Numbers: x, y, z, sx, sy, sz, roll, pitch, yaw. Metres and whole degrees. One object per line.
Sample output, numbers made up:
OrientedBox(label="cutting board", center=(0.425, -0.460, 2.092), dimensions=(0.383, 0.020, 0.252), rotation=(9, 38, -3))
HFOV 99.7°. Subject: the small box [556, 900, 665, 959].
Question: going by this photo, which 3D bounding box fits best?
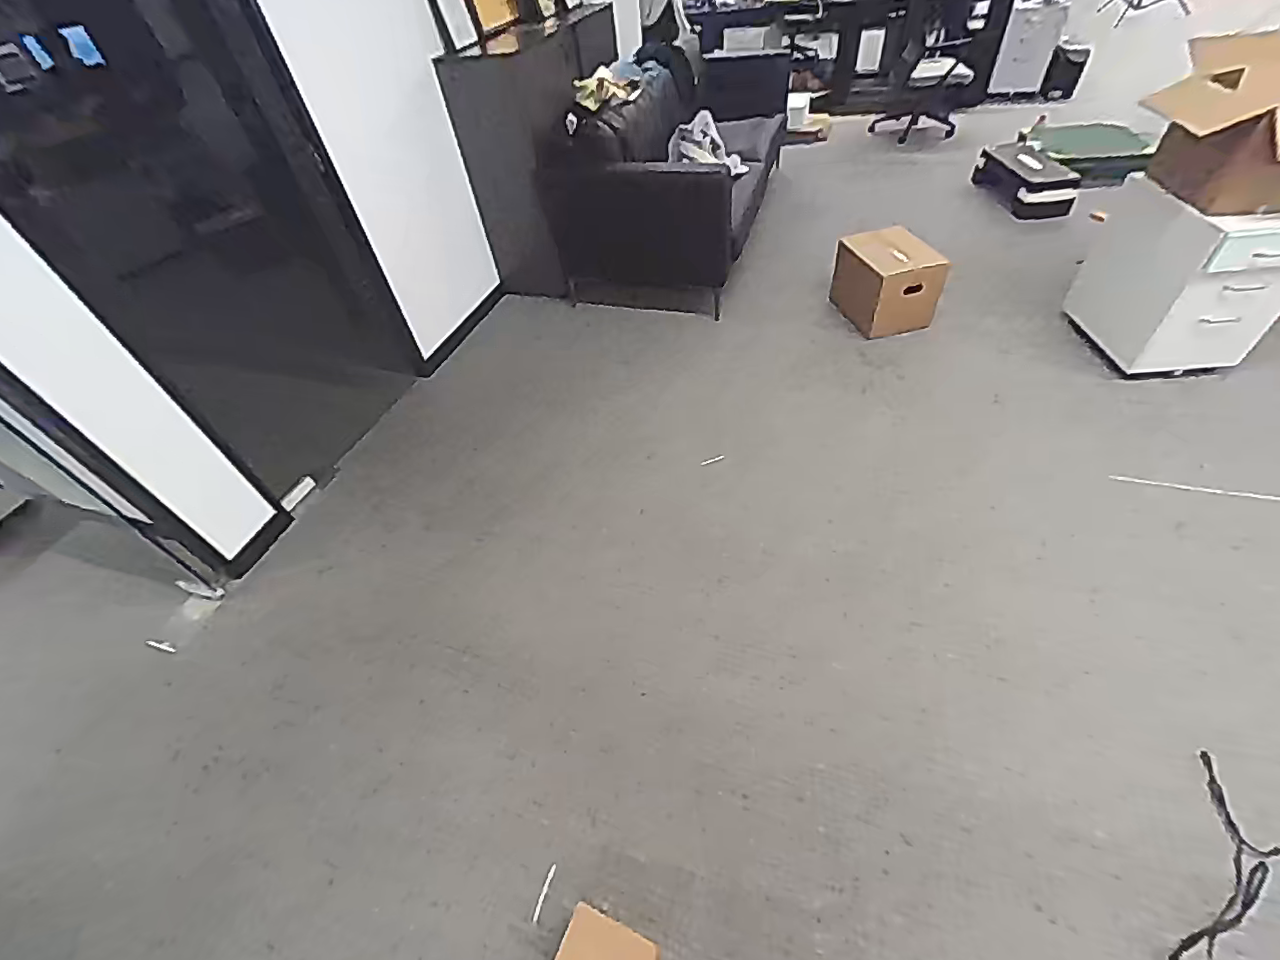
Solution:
OrientedBox(label="small box", center=(-0.063, 0.960, 1.048), dimensions=(0.179, 0.176, 0.168), rotation=(14, 51, 20))
